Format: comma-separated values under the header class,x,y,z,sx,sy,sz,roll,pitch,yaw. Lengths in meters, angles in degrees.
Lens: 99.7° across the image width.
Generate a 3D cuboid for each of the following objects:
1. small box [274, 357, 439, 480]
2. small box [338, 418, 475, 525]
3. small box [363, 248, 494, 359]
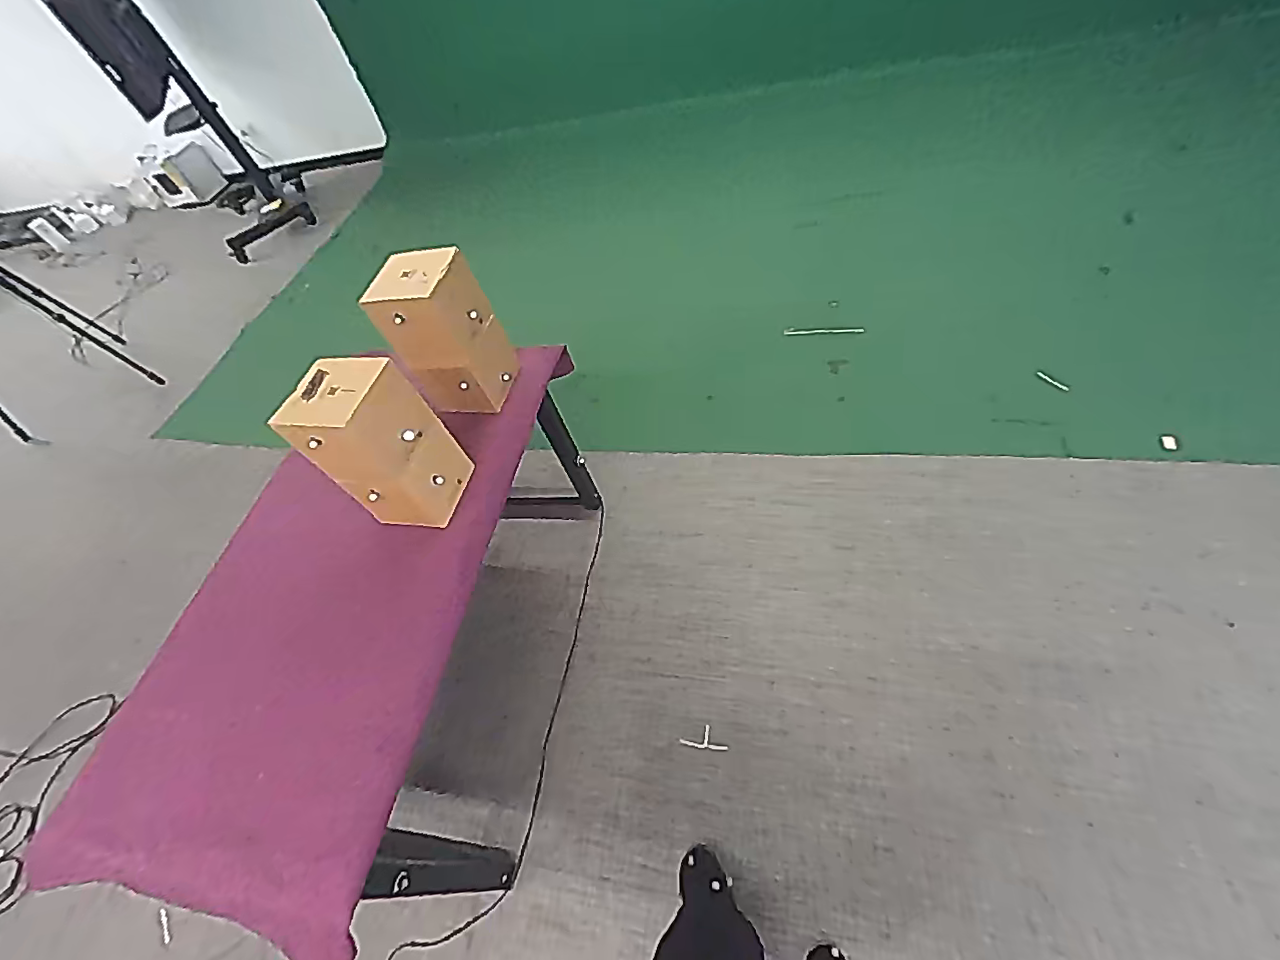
class,x,y,z,sx,sy,sz,roll,pitch,yaw
small box,-0.522,-0.113,1.020,0.179,0.176,0.168,4,57,19
small box,-0.482,-0.018,1.148,0.179,0.176,0.168,3,56,19
small box,-0.455,-0.381,1.191,0.179,0.176,0.168,2,57,17
